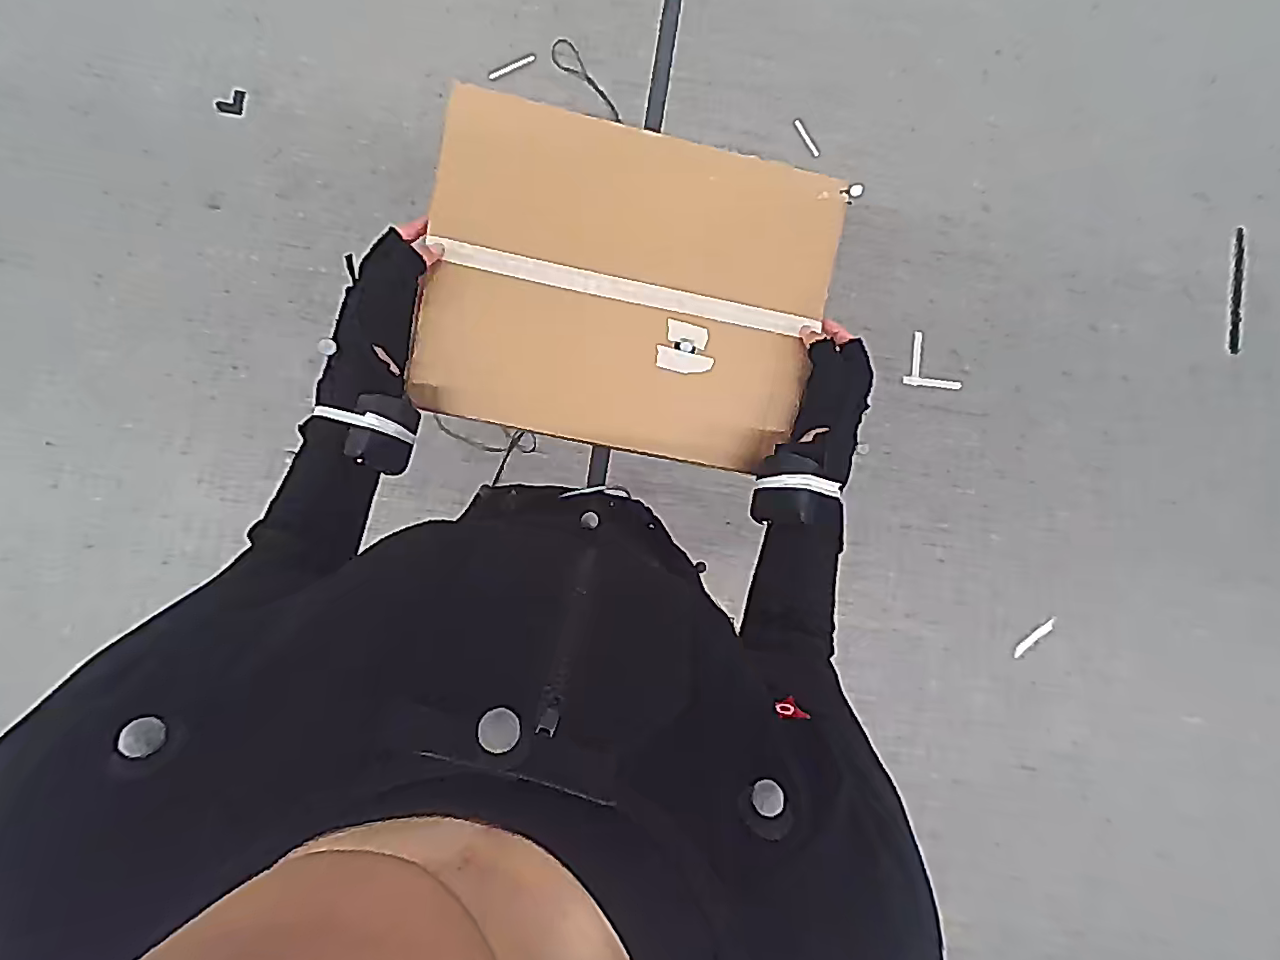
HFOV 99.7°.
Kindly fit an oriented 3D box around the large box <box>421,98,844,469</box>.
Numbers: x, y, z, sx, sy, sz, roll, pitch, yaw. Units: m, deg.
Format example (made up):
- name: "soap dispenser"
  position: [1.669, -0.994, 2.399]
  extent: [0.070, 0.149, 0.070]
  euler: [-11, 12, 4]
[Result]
- name: "large box"
  position: [-0.019, -0.207, 0.709]
  extent: [0.408, 0.320, 0.320]
  euler: [11, 94, -6]
